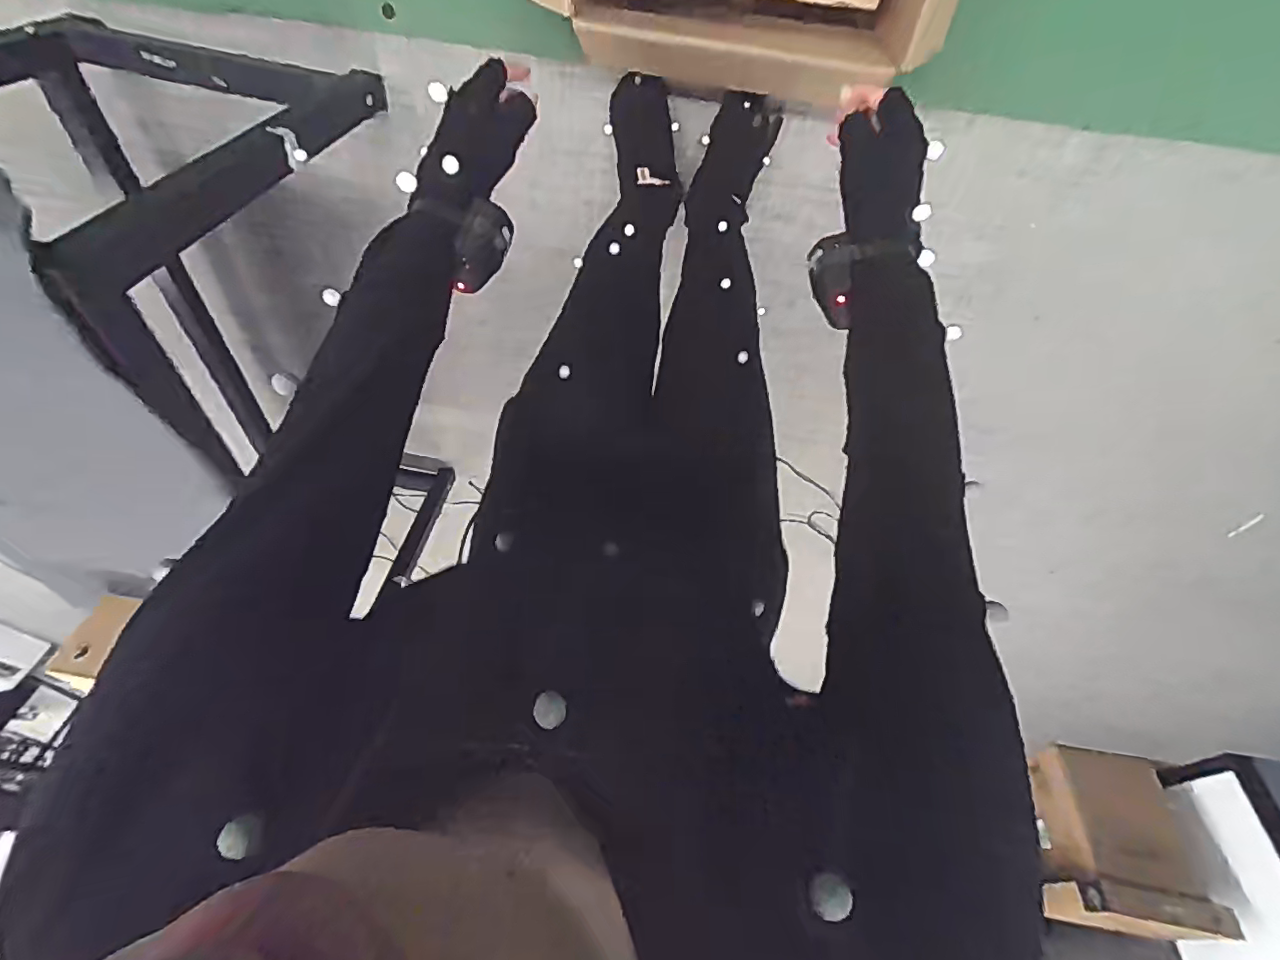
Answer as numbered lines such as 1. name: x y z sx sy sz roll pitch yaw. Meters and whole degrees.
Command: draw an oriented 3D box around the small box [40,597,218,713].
1. small box: -1.050 0.363 1.133 0.179 0.176 0.168 10 140 -1
